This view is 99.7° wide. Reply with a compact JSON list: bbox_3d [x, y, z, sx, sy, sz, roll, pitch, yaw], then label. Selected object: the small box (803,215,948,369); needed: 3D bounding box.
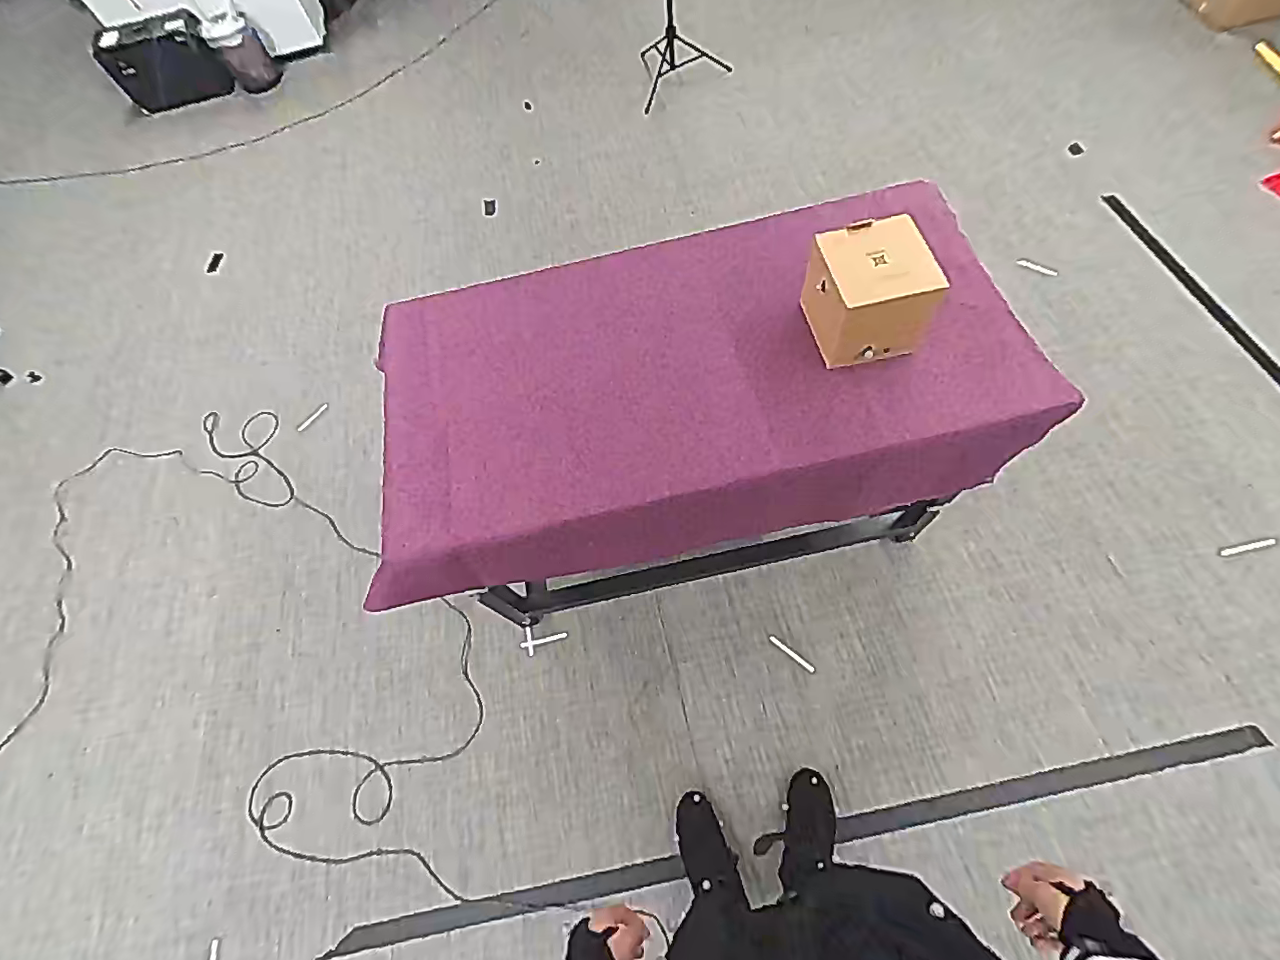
[{"bbox_3d":[0.398,-0.326,0.954,0.168,0.176,0.179,-11,64,3],"label":"small box"}]
